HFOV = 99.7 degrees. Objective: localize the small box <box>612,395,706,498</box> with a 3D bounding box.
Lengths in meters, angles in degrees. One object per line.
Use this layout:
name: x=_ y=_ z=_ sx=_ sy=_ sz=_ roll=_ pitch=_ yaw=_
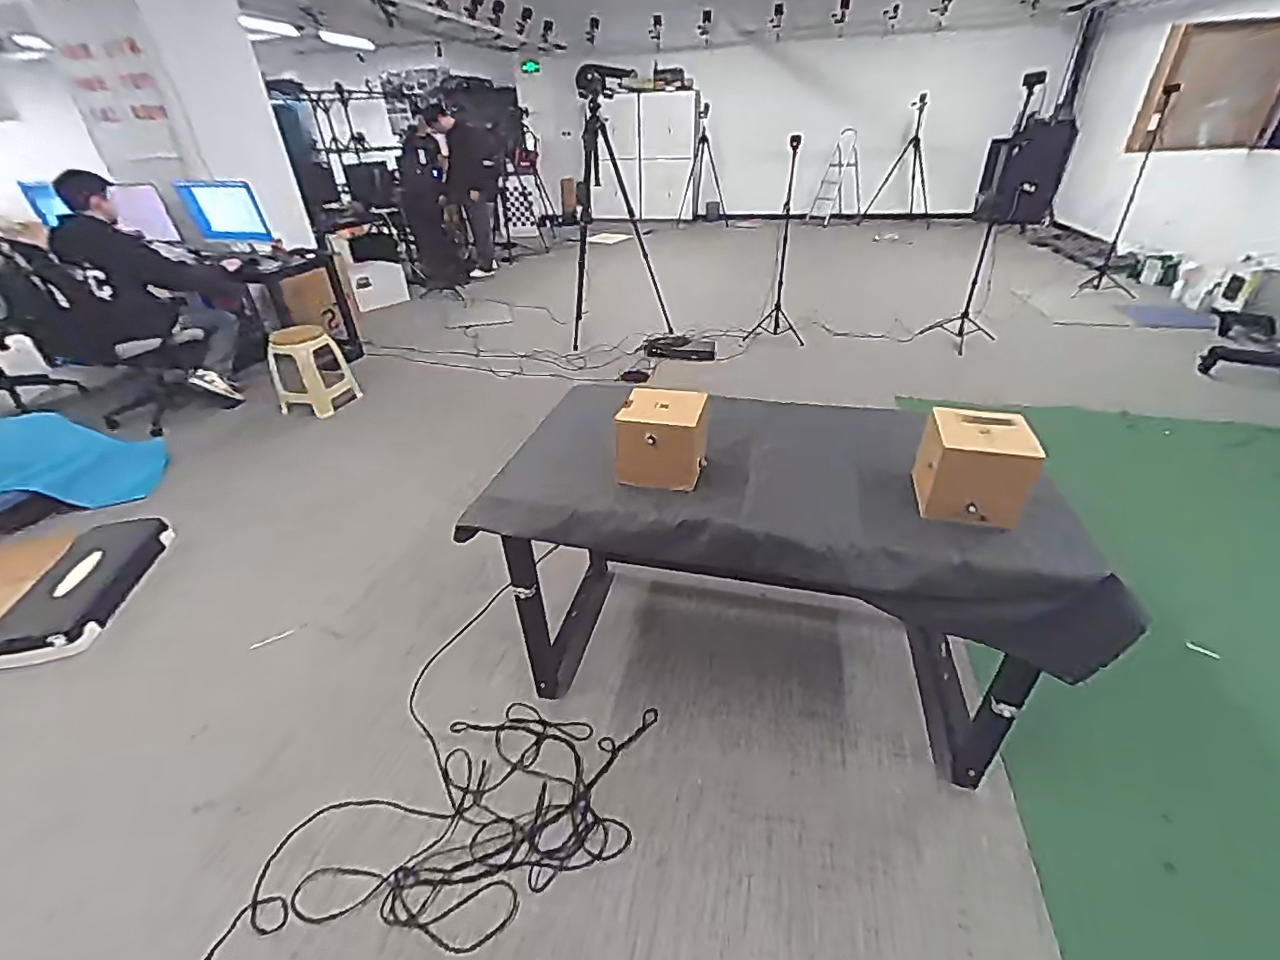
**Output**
small box: x=0.046 y=-0.076 z=1.211 sx=0.179 sy=0.176 sz=0.168 roll=8 pitch=34 yaw=13
